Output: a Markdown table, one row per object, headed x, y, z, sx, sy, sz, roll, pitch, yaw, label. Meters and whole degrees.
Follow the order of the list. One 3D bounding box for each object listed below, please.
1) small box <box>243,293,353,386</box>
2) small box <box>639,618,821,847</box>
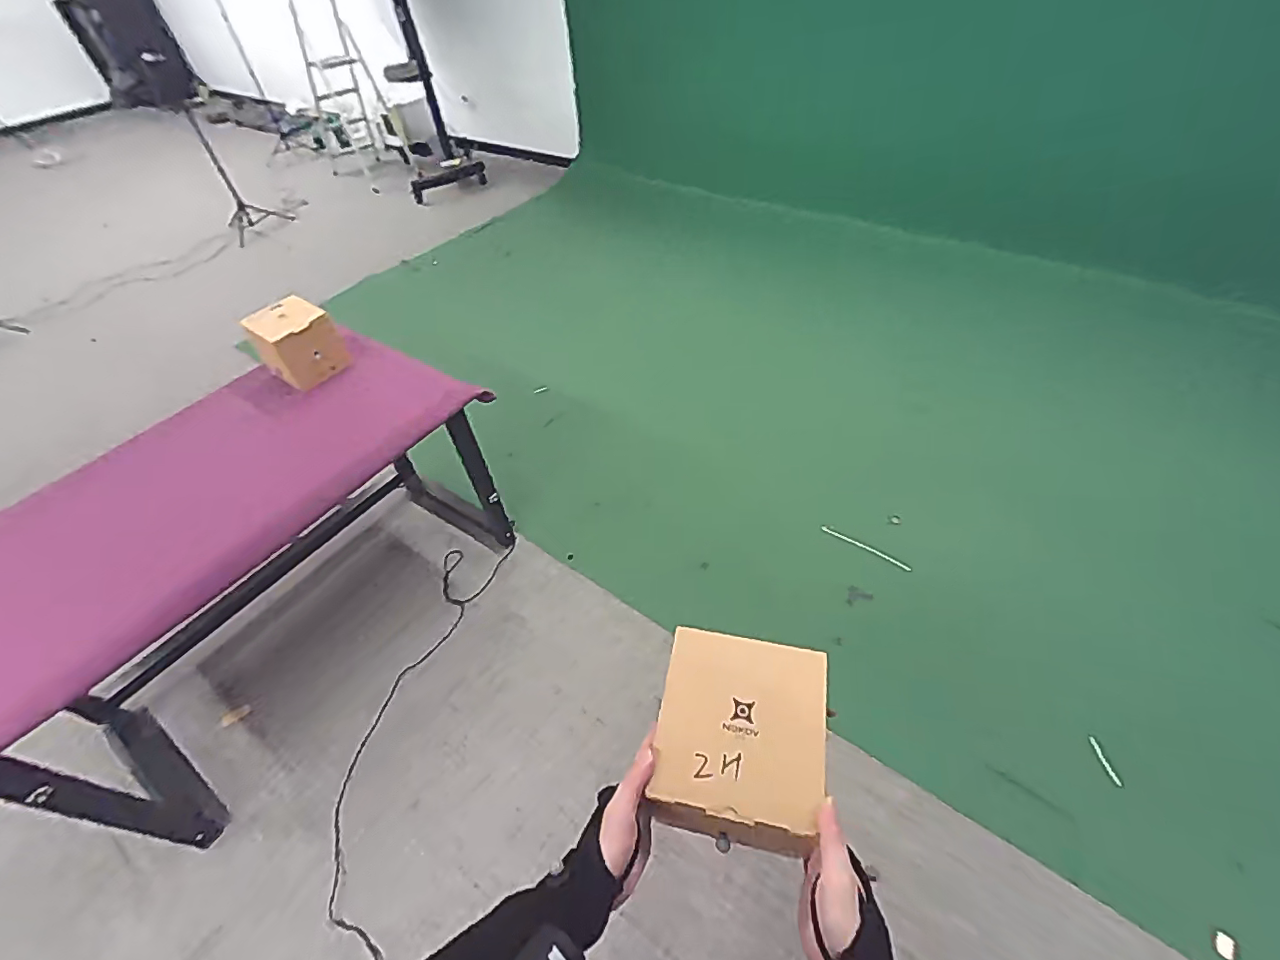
| x | y | z | sx | sy | sz | roll | pitch | yaw | label |
| --- | --- | --- | --- | --- | --- | --- | --- | --- | --- |
| -0.950 | -0.391 | 1.520 | 0.179 | 0.176 | 0.168 | 29 | 56 | 24 | small box |
| 0.102 | 0.284 | 0.609 | 0.168 | 0.176 | 0.179 | 7 | 52 | 13 | small box |
